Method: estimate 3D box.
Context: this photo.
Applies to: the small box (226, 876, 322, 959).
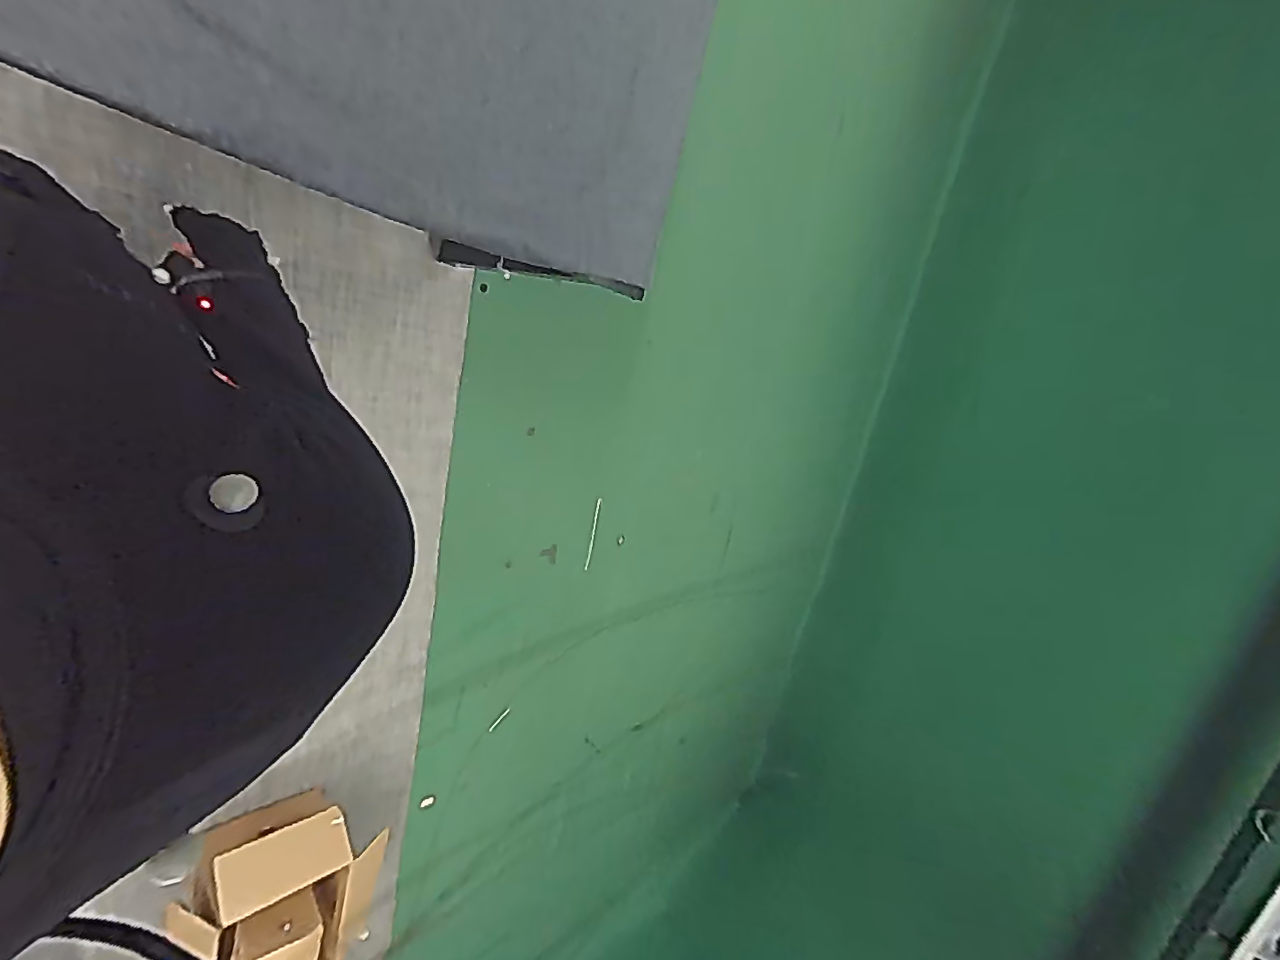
[{"bbox_3d":[-0.983,1.226,1.447,0.179,0.176,0.168,3,107,-48],"label":"small box"}]
